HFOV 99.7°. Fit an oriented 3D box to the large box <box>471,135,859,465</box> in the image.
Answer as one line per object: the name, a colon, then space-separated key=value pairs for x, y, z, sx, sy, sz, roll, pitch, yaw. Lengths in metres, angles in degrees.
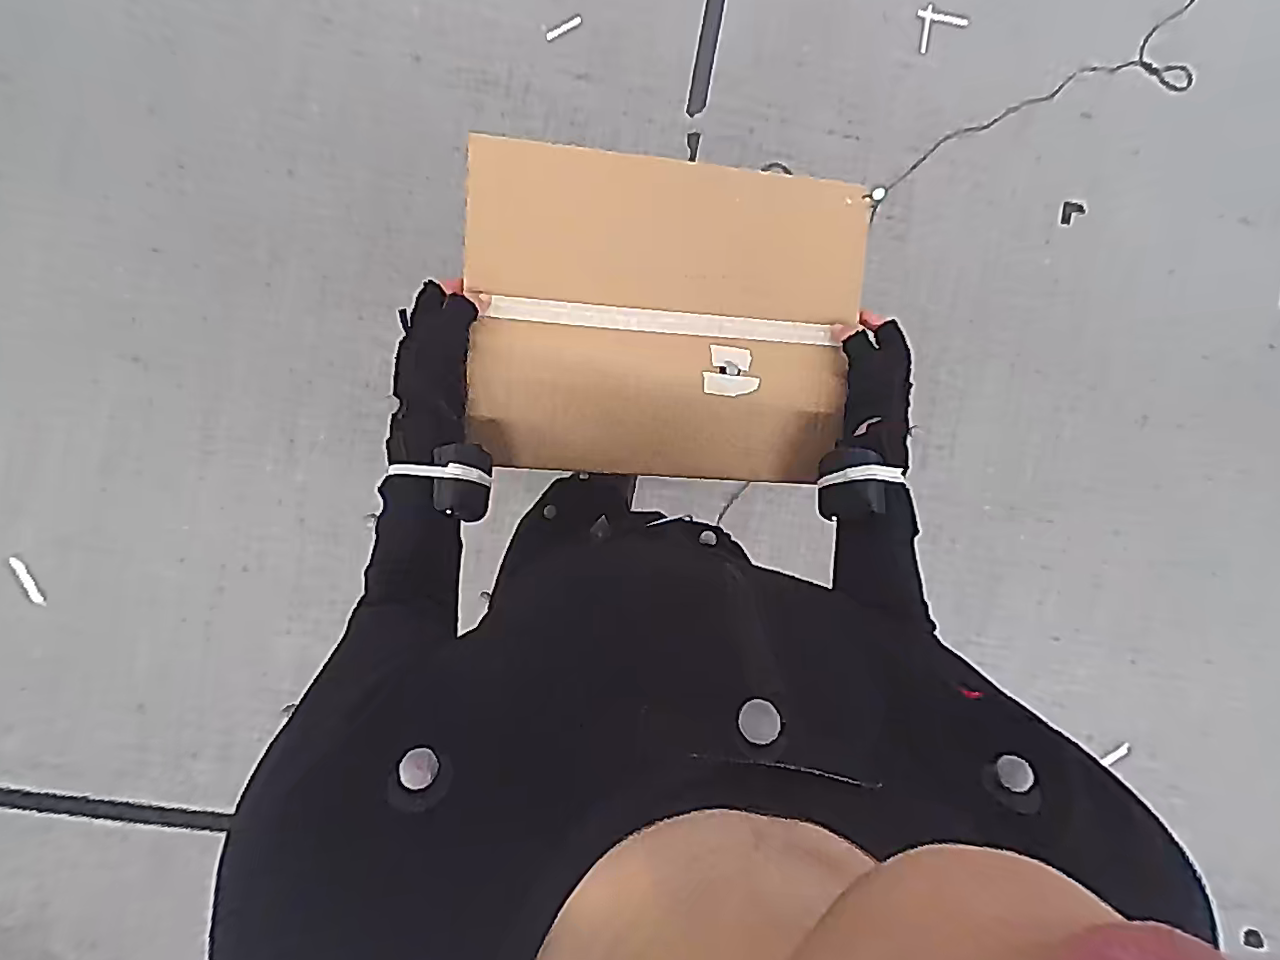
large box: x=0.009 y=-0.190 z=0.708 sx=0.408 sy=0.320 sz=0.320 roll=3 pitch=96 yaw=-8
